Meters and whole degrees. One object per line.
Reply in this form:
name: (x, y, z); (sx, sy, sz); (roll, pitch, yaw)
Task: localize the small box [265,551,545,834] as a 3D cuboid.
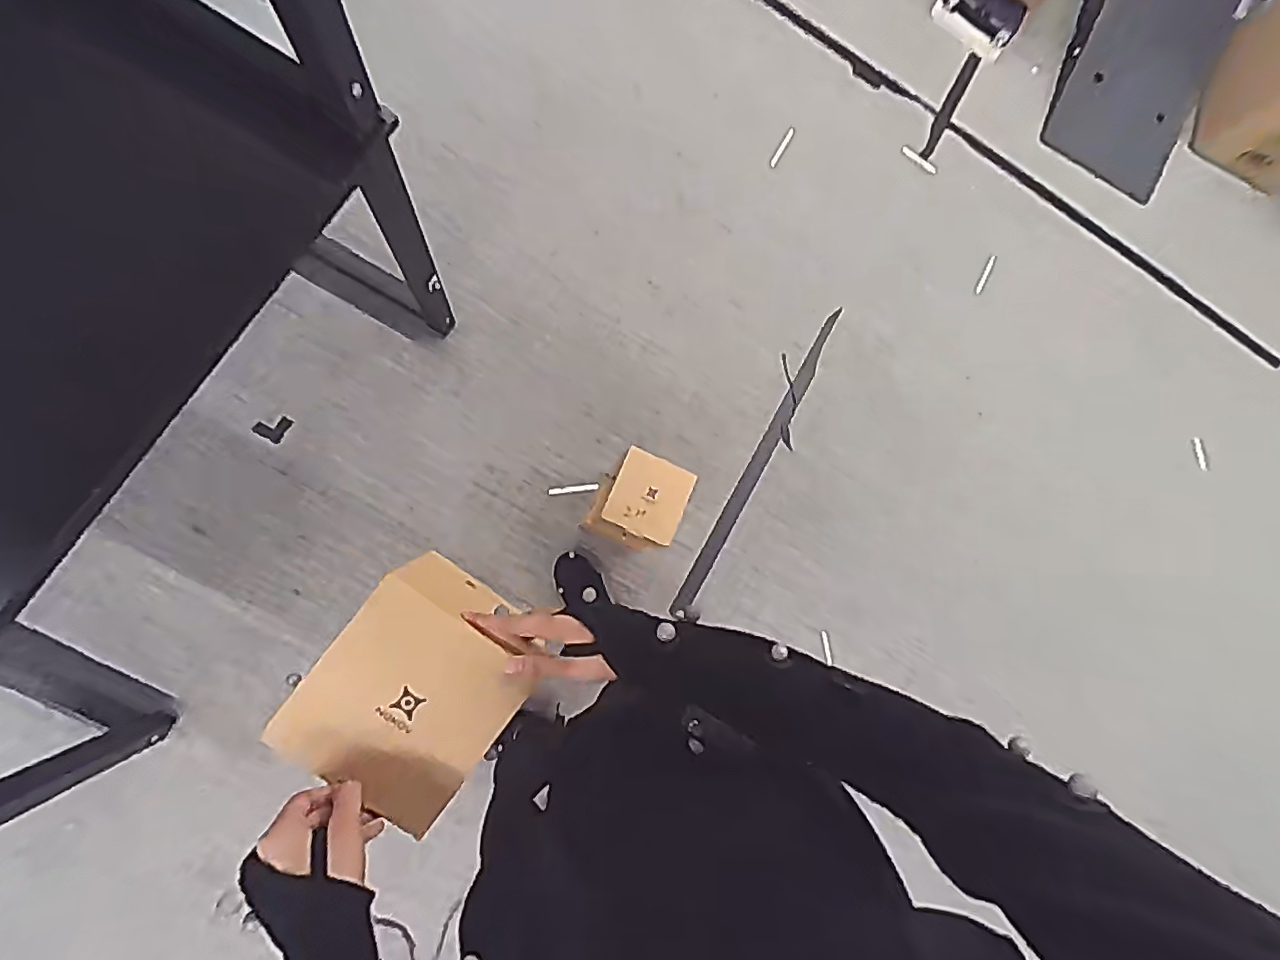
small box: (-0.213, 0.192, 0.547); (0.168, 0.176, 0.179); (38, 86, -7)

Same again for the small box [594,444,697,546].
small box: (0.005, 0.039, 1.240); (0.168, 0.176, 0.179); (25, 80, -8)
